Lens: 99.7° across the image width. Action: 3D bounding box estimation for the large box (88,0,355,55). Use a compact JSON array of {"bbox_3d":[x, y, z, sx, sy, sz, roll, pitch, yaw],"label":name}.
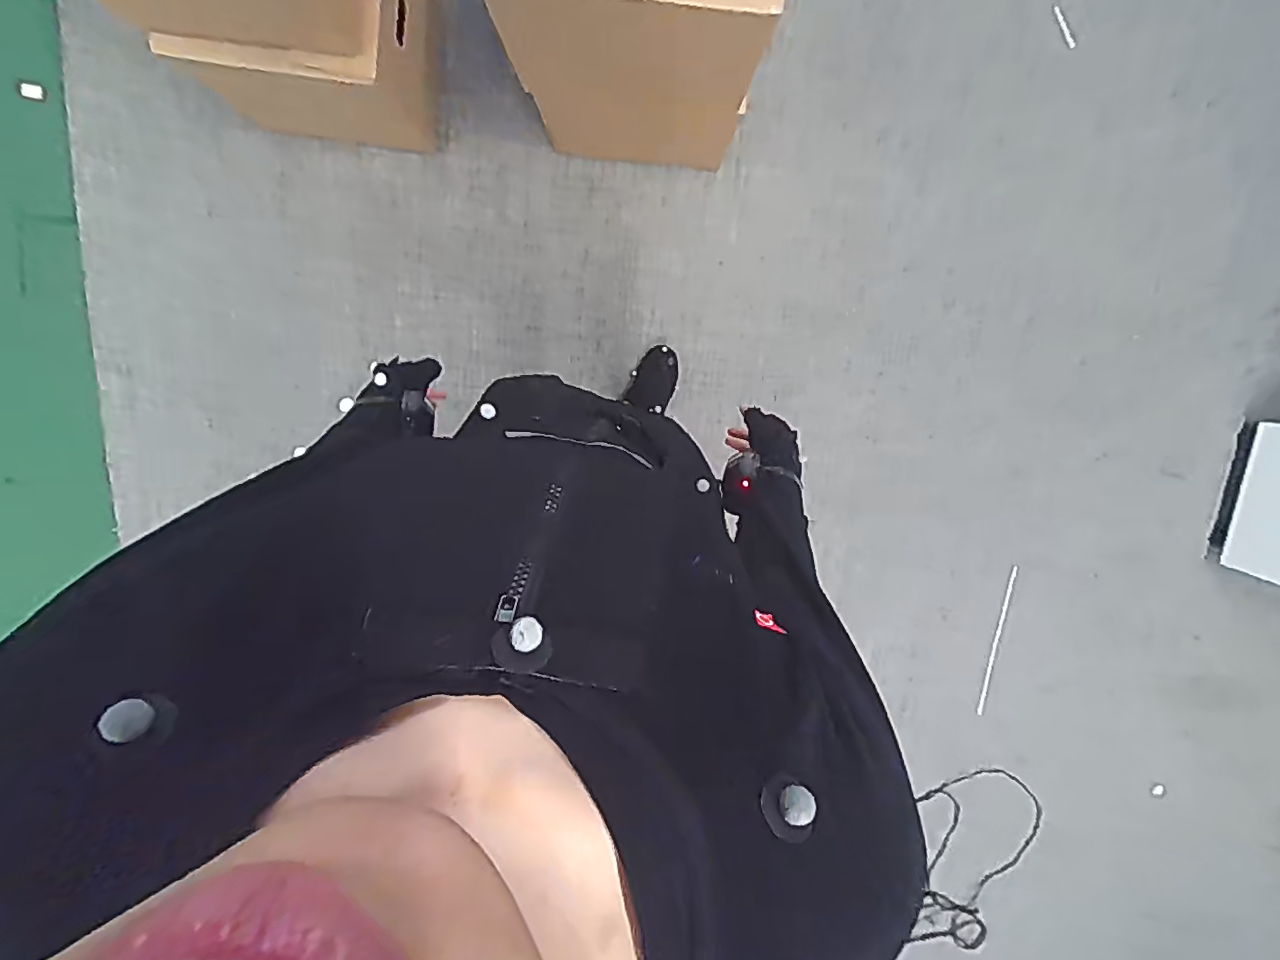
[{"bbox_3d":[-0.689,-0.899,0.789,0.408,0.320,0.320,6,99,-3],"label":"large box"}]
